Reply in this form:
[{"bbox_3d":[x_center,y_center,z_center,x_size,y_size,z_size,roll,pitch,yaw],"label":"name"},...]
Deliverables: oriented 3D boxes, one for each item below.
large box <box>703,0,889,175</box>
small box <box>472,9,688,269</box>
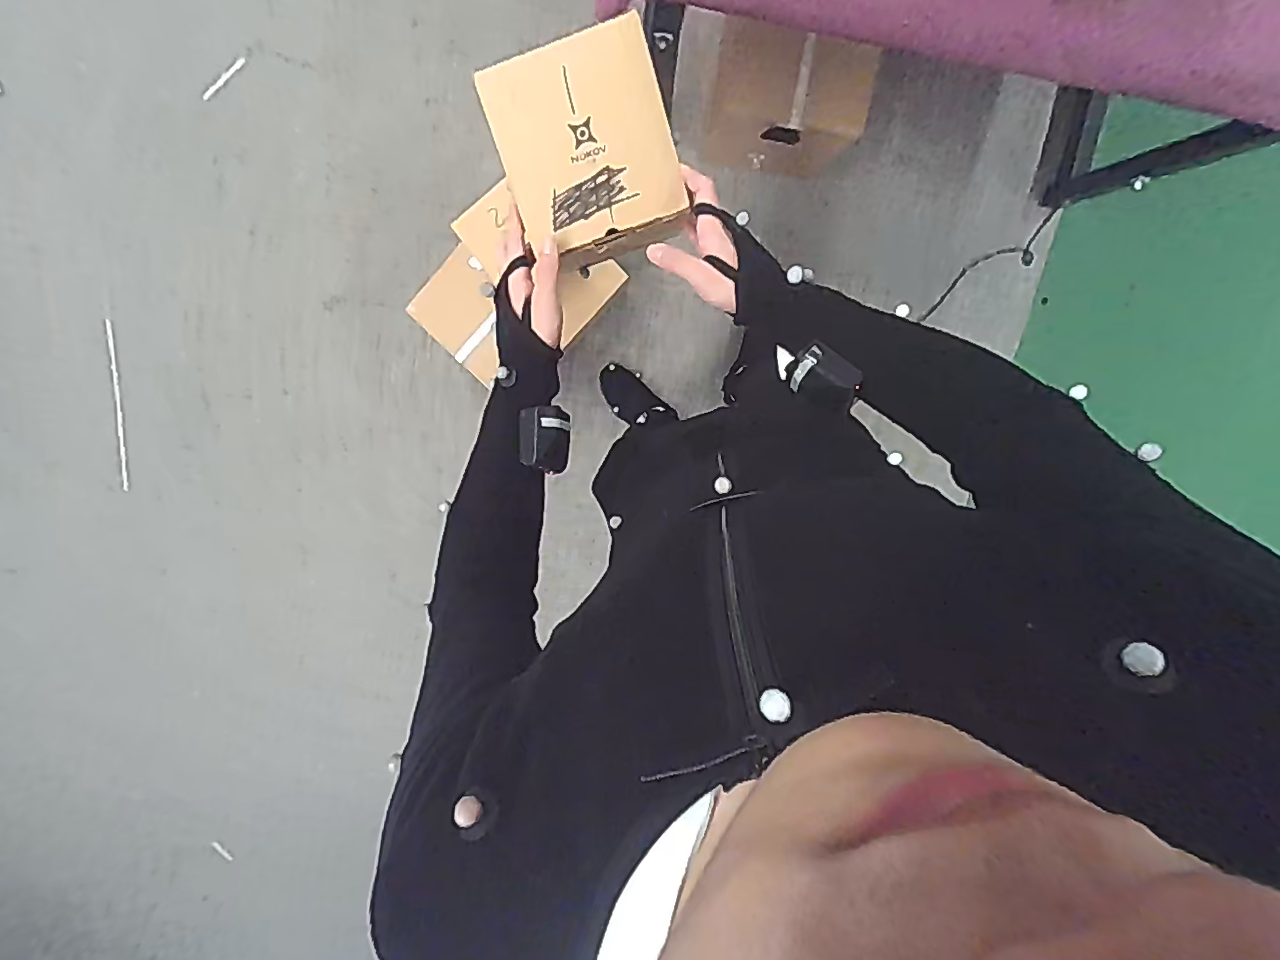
[{"bbox_3d":[0.339,-0.974,1.232,0.320,0.320,0.408,7,103,-5],"label":"large box"},{"bbox_3d":[-0.051,-0.341,0.587,0.168,0.176,0.179,-17,105,6],"label":"small box"}]
